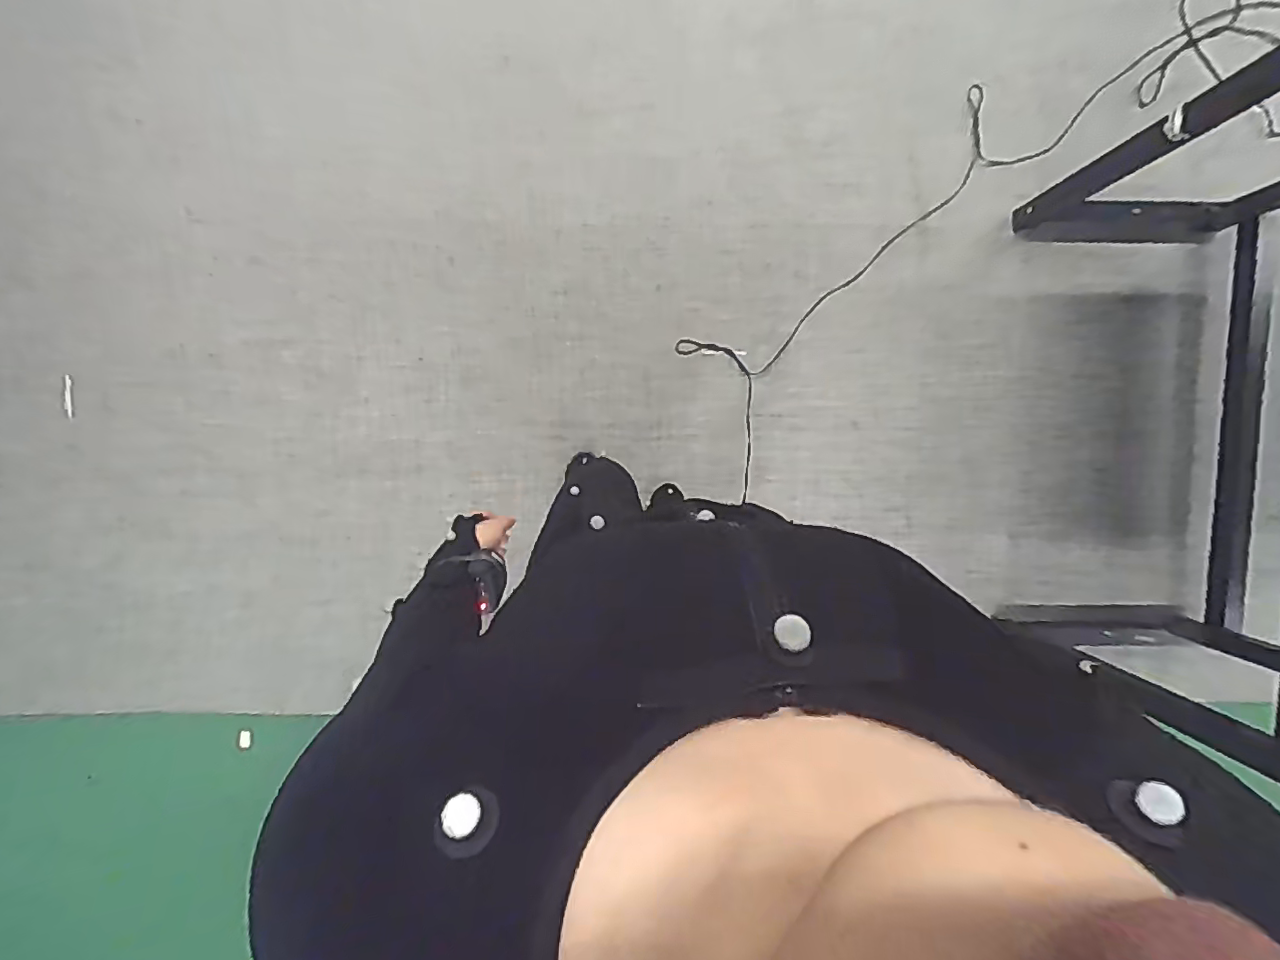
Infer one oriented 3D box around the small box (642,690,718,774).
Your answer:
[{"bbox_3d":[0.096,0.646,1.365,0.179,0.176,0.168,2,92,0],"label":"small box"}]
